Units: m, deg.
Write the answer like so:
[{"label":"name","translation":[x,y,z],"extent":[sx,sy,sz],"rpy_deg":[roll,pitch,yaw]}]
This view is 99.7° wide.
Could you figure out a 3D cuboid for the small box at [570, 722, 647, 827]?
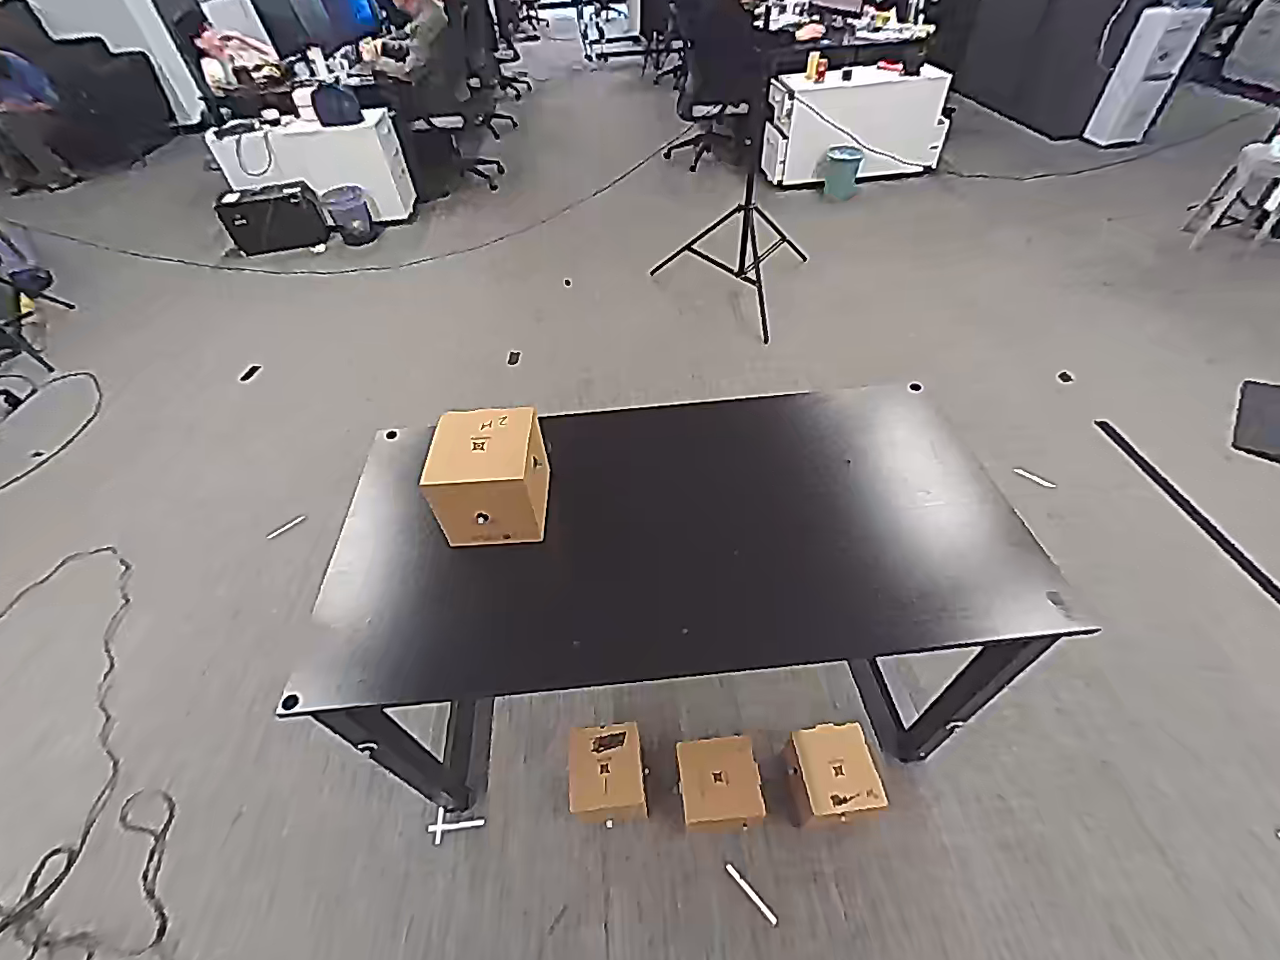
[{"label":"small box","translation":[-0.076,0.702,1.288],"extent":[0.168,0.176,0.179],"rpy_deg":[-7,48,-2]}]

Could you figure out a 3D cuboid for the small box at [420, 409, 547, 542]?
[{"label":"small box","translation":[-0.263,-0.002,0.958],"extent":[0.168,0.176,0.179],"rpy_deg":[-3,47,0]}]

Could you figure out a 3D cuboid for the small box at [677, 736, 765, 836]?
[{"label":"small box","translation":[0.180,0.715,1.261],"extent":[0.179,0.176,0.168],"rpy_deg":[-6,47,0]}]

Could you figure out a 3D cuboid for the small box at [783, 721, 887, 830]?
[{"label":"small box","translation":[0.442,0.690,1.261],"extent":[0.168,0.176,0.179],"rpy_deg":[-7,47,-1]}]
